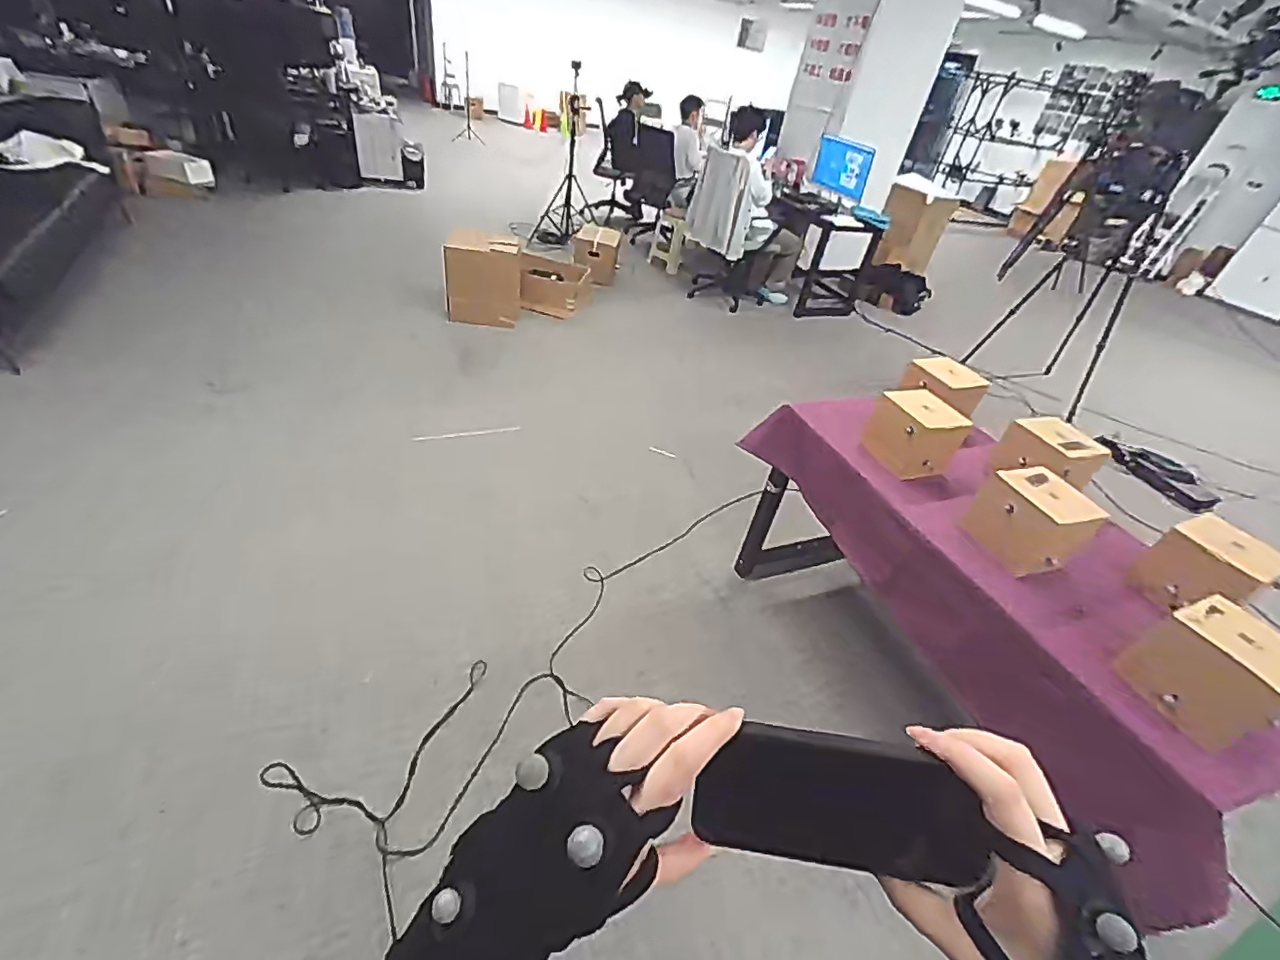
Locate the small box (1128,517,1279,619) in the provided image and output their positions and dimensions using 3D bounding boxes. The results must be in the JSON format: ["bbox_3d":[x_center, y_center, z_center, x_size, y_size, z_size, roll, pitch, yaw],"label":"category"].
[{"bbox_3d":[1.234,0.208,1.179,0.179,0.176,0.168,-10,42,-24],"label":"small box"}]

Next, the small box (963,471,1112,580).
[{"bbox_3d":[0.888,0.101,1.230,0.168,0.176,0.179,-5,42,-20],"label":"small box"}]

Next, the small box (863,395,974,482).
[{"bbox_3d":[0.745,-0.114,1.469,0.168,0.176,0.179,-6,42,-22],"label":"small box"}]

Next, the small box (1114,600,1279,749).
[{"bbox_3d":[1.013,0.345,0.951,0.168,0.176,0.179,-8,42,-23],"label":"small box"}]
